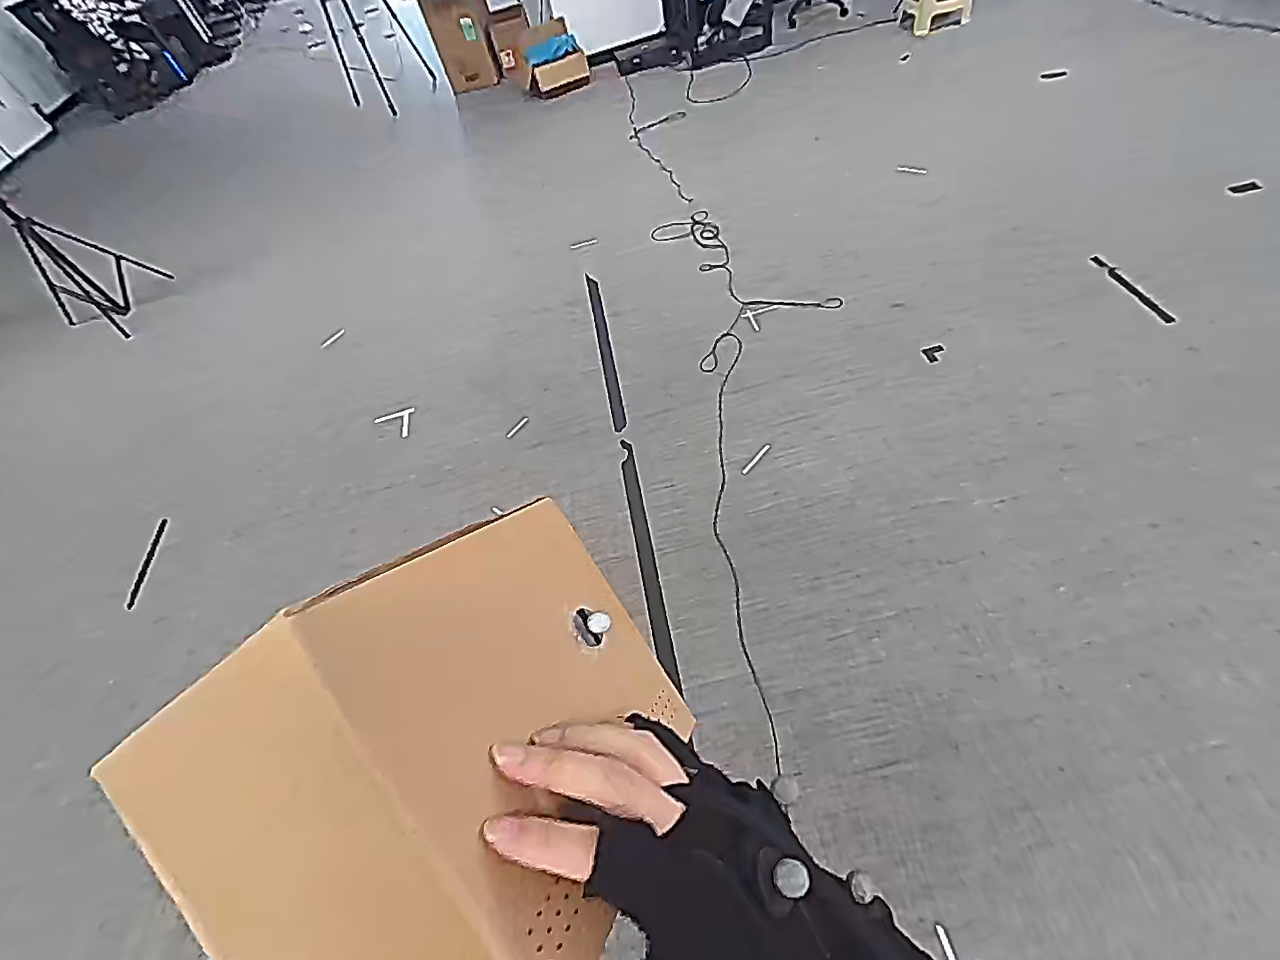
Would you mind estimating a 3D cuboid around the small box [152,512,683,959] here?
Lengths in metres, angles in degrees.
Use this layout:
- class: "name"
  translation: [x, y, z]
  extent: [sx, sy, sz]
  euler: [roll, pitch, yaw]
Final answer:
- class: "small box"
  translation: [-0.098, 0.145, 0.299]
  extent: [0.168, 0.179, 0.176]
  euler: [-34, 88, 23]
